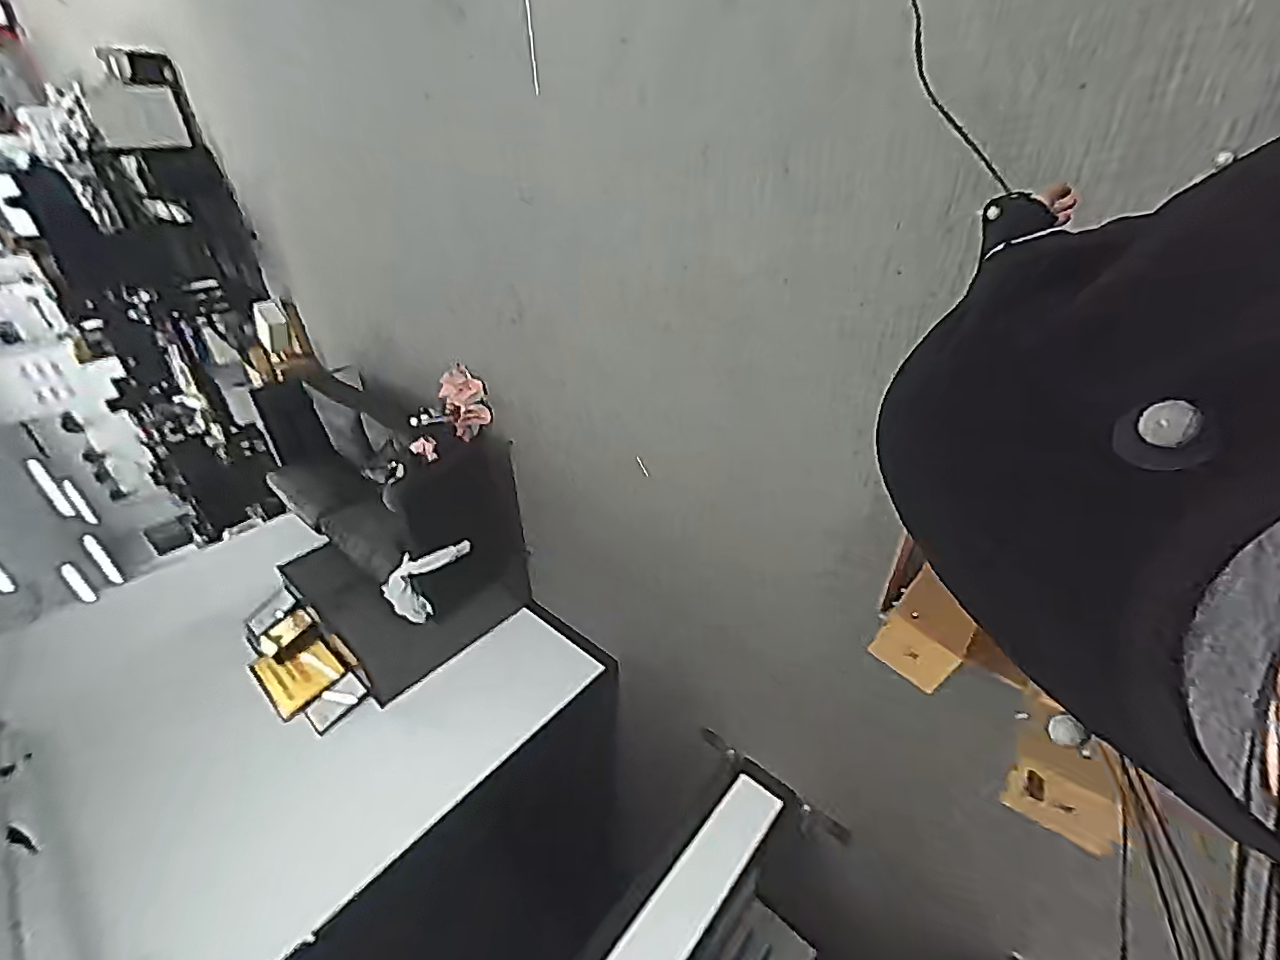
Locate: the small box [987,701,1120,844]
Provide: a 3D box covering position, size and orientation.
[{"bbox_3d":[0.867,0.600,1.136,0.179,0.176,0.168,20,128,36],"label":"small box"}]

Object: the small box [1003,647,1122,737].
[{"bbox_3d":[0.971,0.526,1.241,0.168,0.176,0.179,24,129,34],"label":"small box"}]

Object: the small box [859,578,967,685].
[{"bbox_3d":[0.721,0.392,1.423,0.179,0.176,0.168,36,135,26],"label":"small box"}]
